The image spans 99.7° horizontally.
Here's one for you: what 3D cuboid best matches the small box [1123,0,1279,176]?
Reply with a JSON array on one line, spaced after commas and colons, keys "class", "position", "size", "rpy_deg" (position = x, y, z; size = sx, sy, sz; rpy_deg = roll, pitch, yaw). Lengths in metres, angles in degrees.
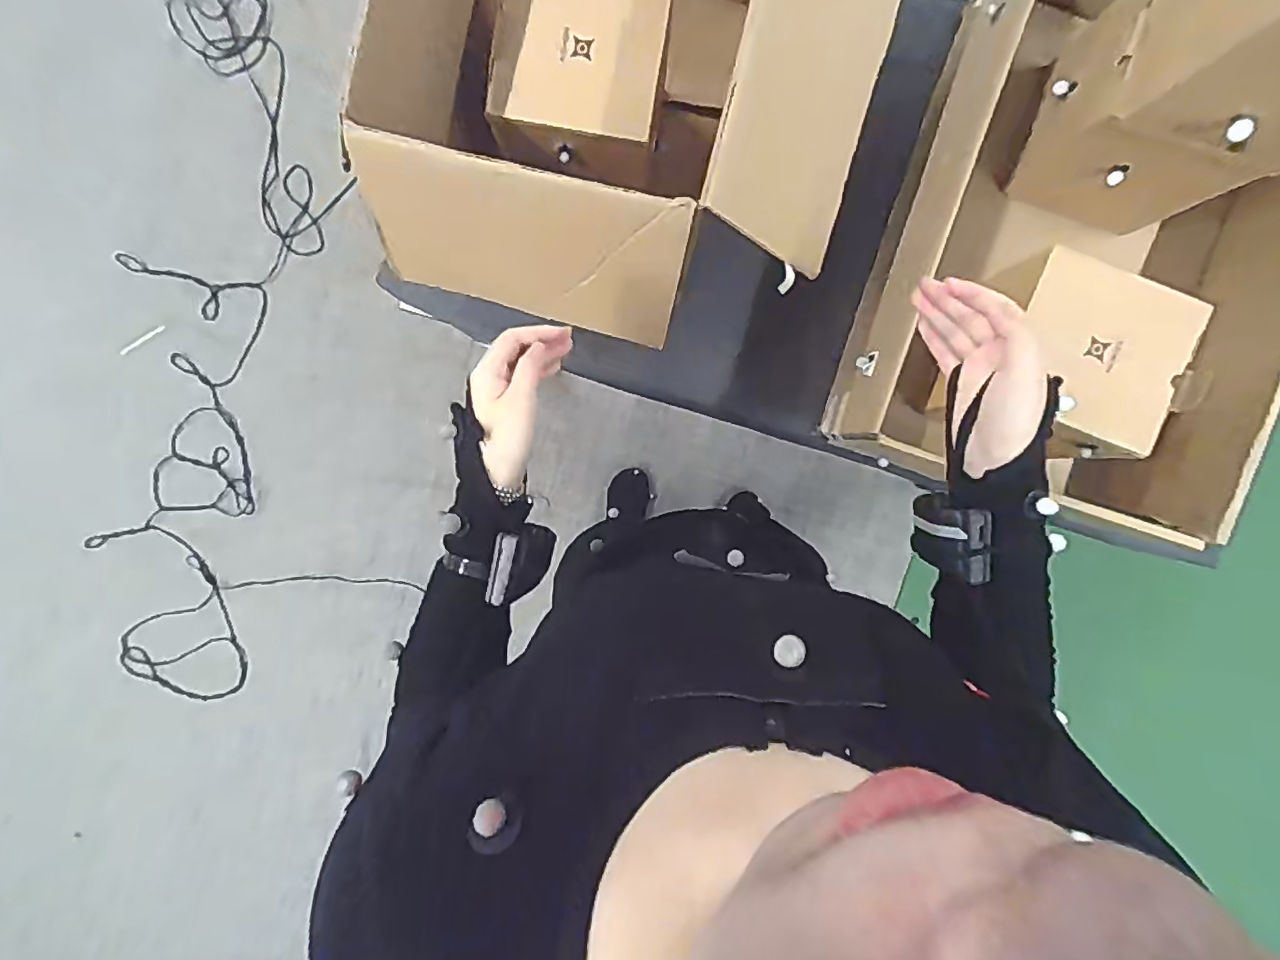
[{"class": "small box", "position": [0.566, -0.396, 0.446], "size": [0.168, 0.176, 0.179], "rpy_deg": [18, 95, -1]}]
